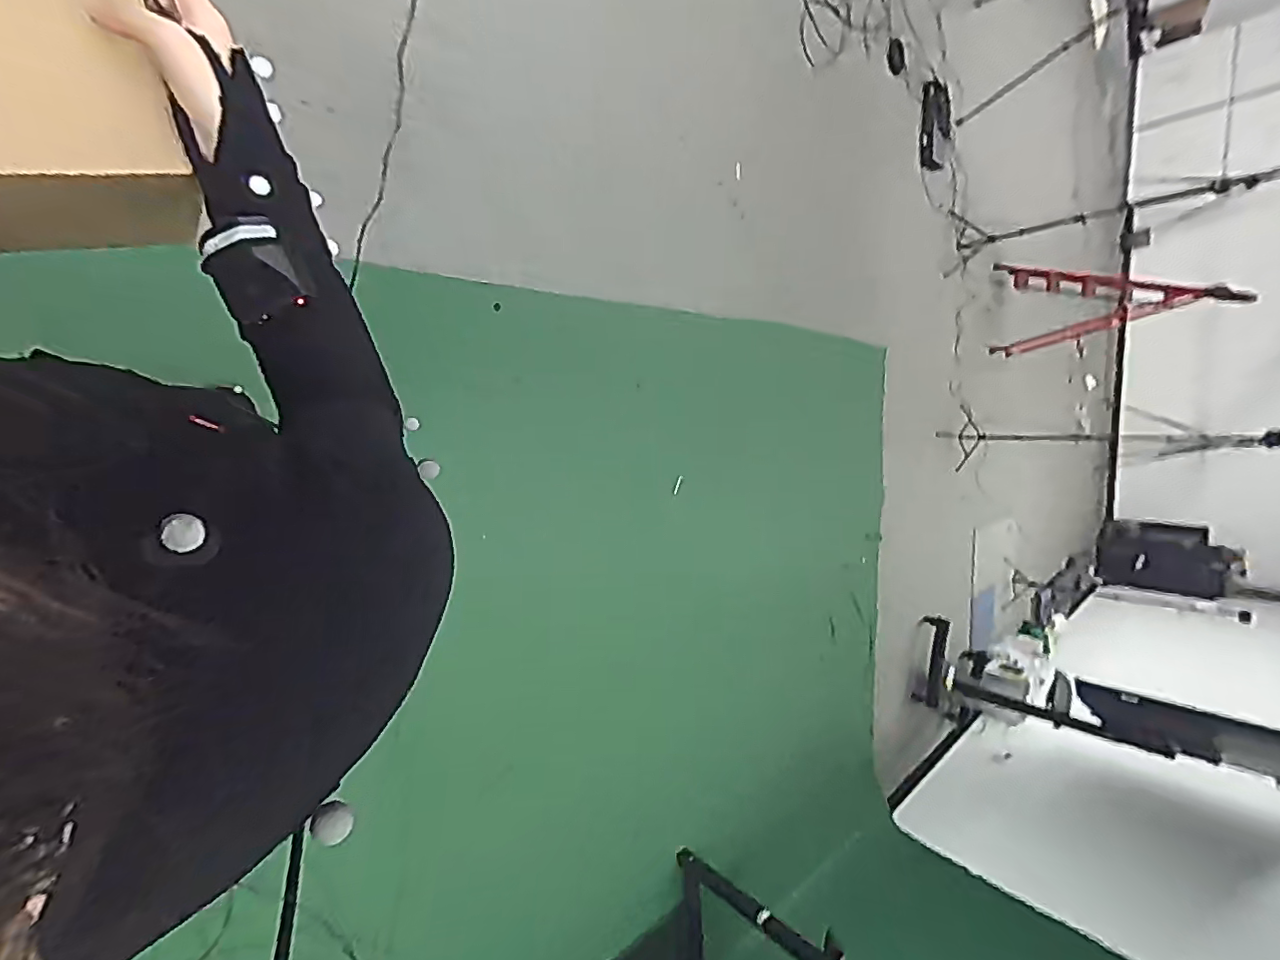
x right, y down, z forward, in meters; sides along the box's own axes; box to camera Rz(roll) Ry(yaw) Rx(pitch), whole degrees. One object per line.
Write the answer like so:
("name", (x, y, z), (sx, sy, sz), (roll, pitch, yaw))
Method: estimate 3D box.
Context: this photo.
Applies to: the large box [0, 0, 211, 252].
("large box", (-0.594, -0.333, 0.366), (0.408, 0.320, 0.320), (-22, 113, -34))
